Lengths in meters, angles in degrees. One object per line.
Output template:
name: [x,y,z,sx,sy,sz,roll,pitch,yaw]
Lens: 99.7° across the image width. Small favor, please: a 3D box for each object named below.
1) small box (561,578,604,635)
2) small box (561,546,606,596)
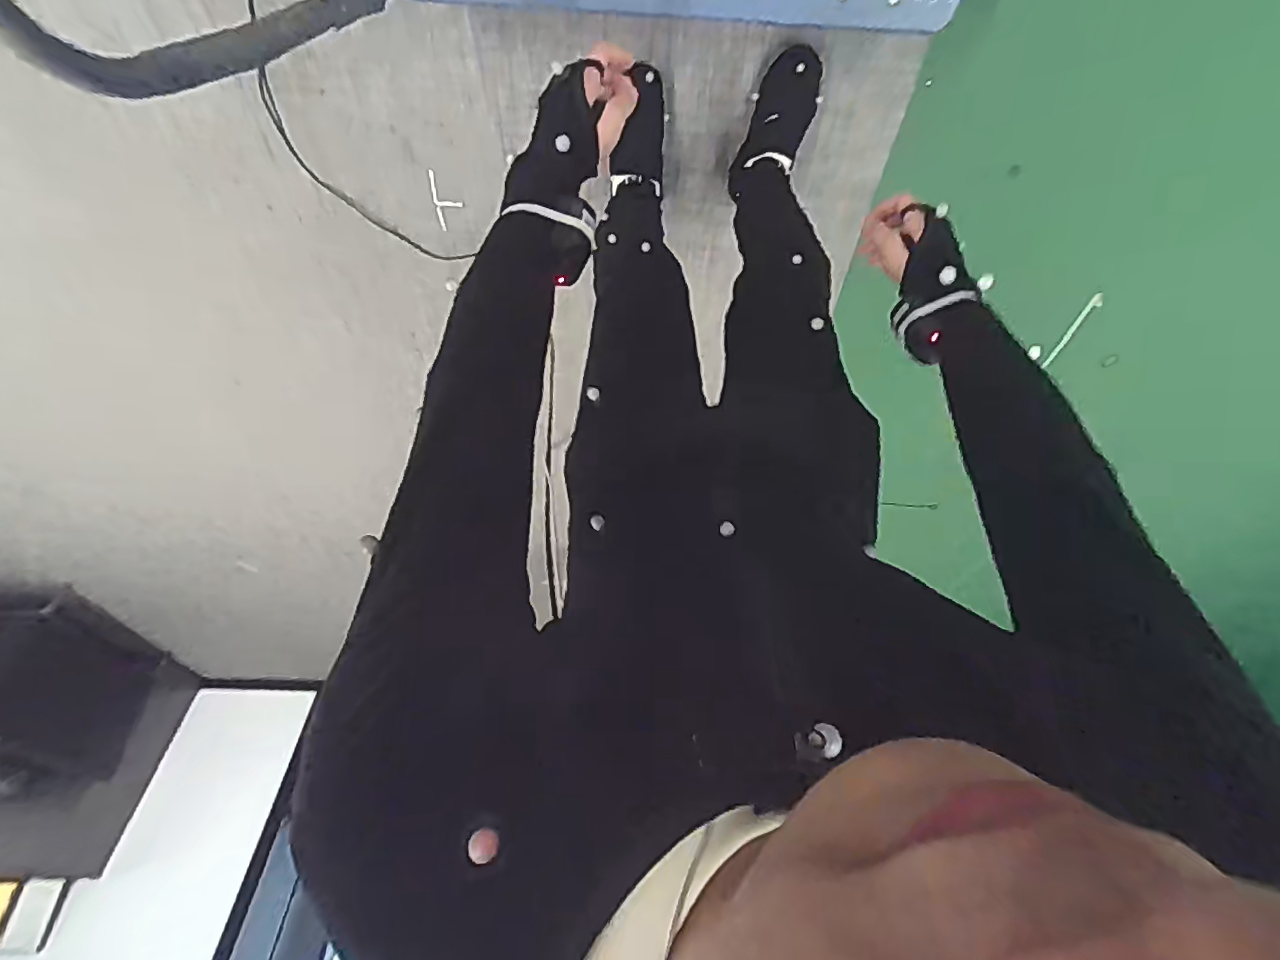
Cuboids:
small box: [-0.240,0.520,2.221,0.168,0.176,0.179,6,138,-5]
small box: [-0.242,0.397,2.329,0.179,0.176,0.168,6,139,-5]
